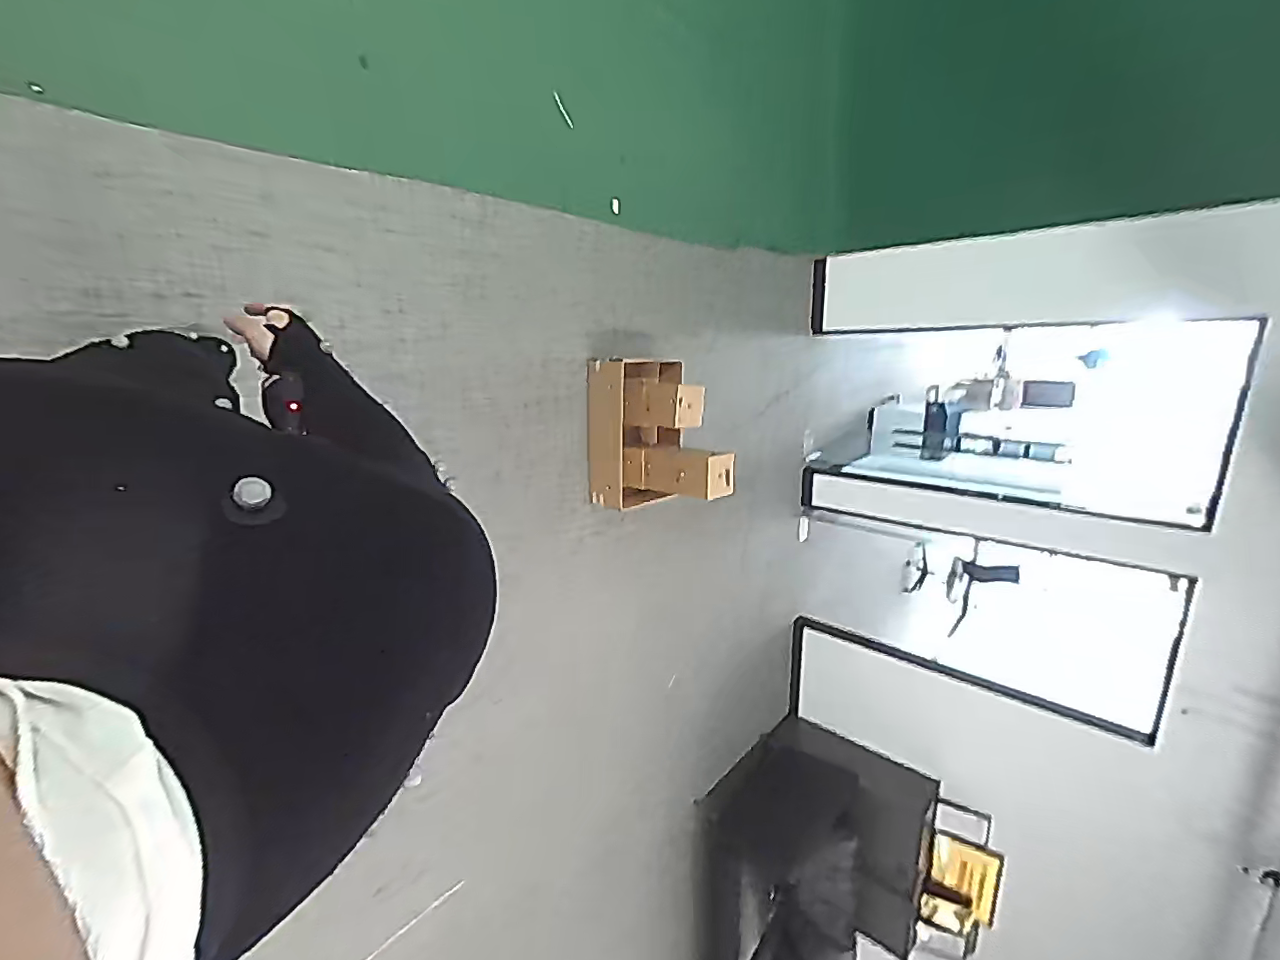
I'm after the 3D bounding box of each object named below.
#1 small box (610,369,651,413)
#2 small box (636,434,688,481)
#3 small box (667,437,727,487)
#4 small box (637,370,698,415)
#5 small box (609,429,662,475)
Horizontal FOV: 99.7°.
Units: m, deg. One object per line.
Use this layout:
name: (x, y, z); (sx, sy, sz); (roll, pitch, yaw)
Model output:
small box: (-0.015, -0.378, 2.283); (0.179, 0.176, 0.168); (-17, 114, -46)
small box: (0.105, -0.100, 2.245); (0.179, 0.176, 0.168); (-13, 107, -47)
small box: (0.224, -0.076, 2.135); (0.179, 0.176, 0.168); (-14, 108, -46)
small box: (0.110, -0.353, 2.178); (0.179, 0.176, 0.168); (-10, 107, -49)
small box: (-0.020, -0.124, 2.347); (0.179, 0.176, 0.168); (-16, 111, -46)
